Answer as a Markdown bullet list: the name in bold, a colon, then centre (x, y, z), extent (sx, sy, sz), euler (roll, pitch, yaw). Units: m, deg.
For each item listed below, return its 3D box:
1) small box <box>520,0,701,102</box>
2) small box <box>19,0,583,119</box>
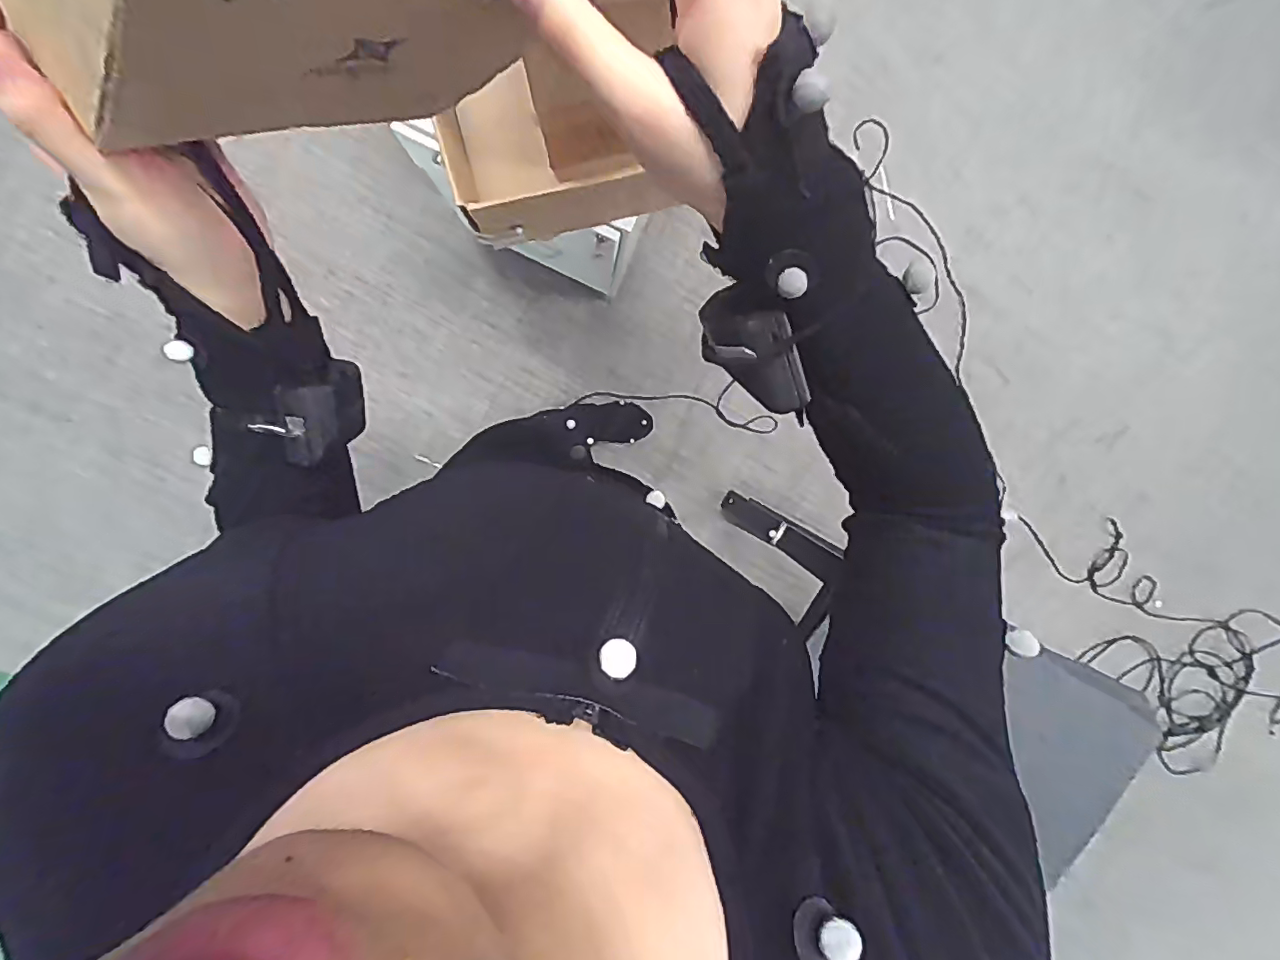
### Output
- **small box**: centre (-0.043, -0.502, 0.513), extent (0.179, 0.176, 0.168), euler (-13, 98, -2)
- **small box**: centre (-0.130, -0.247, 0.178), extent (0.168, 0.179, 0.176), euler (-40, 125, -37)
